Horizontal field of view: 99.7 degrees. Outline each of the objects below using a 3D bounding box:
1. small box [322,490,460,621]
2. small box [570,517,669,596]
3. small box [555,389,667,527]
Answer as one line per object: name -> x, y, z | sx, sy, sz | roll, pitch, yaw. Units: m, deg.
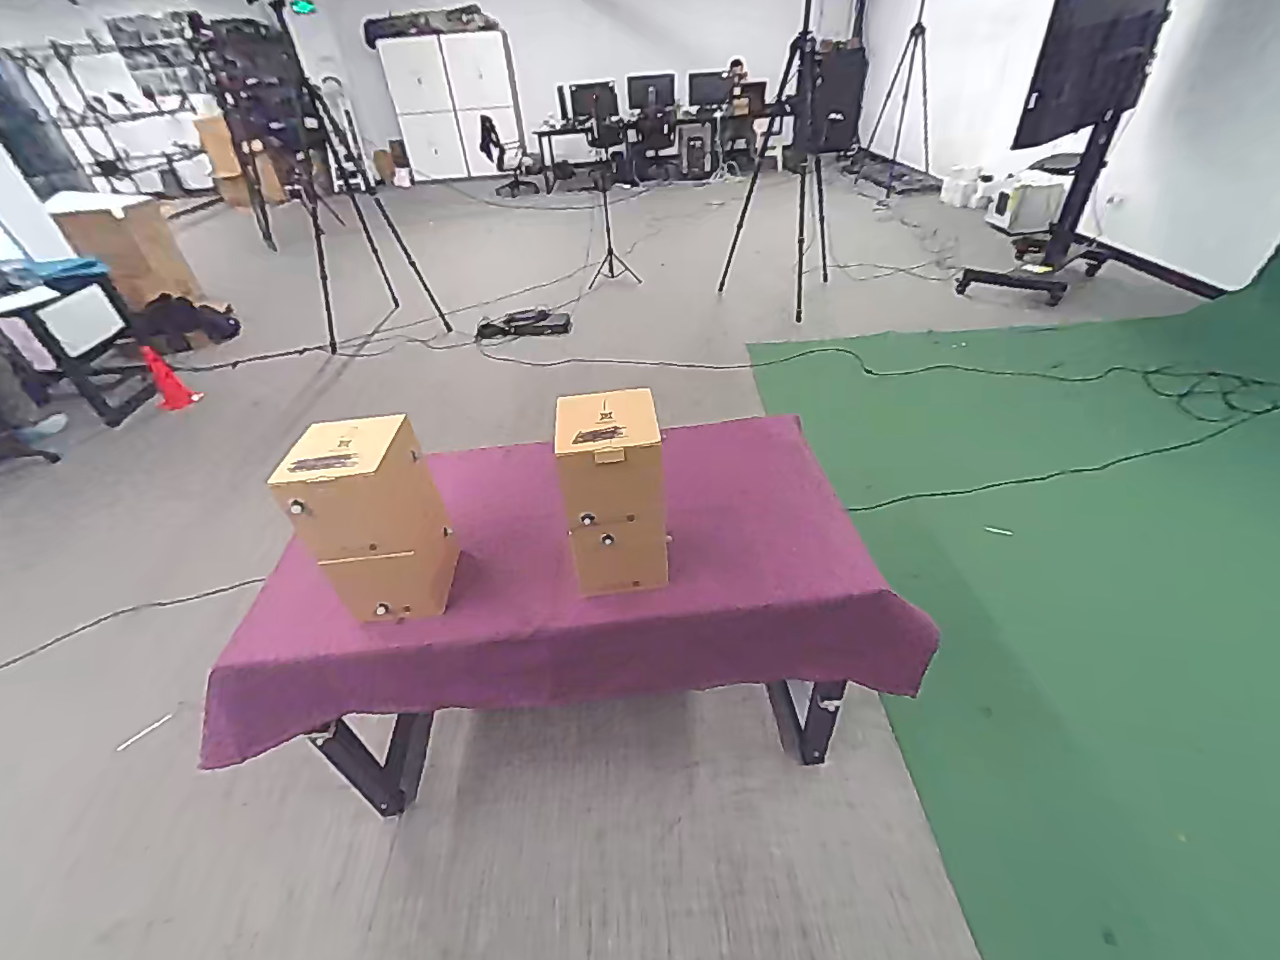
small box -> -0.455, 0.142, 1.023 | 0.168, 0.176, 0.179 | -6, 39, 0
small box -> -0.037, 0.096, 1.032 | 0.168, 0.176, 0.179 | -7, 38, 0
small box -> -0.047, -0.033, 0.930 | 0.168, 0.176, 0.179 | -6, 38, -1
